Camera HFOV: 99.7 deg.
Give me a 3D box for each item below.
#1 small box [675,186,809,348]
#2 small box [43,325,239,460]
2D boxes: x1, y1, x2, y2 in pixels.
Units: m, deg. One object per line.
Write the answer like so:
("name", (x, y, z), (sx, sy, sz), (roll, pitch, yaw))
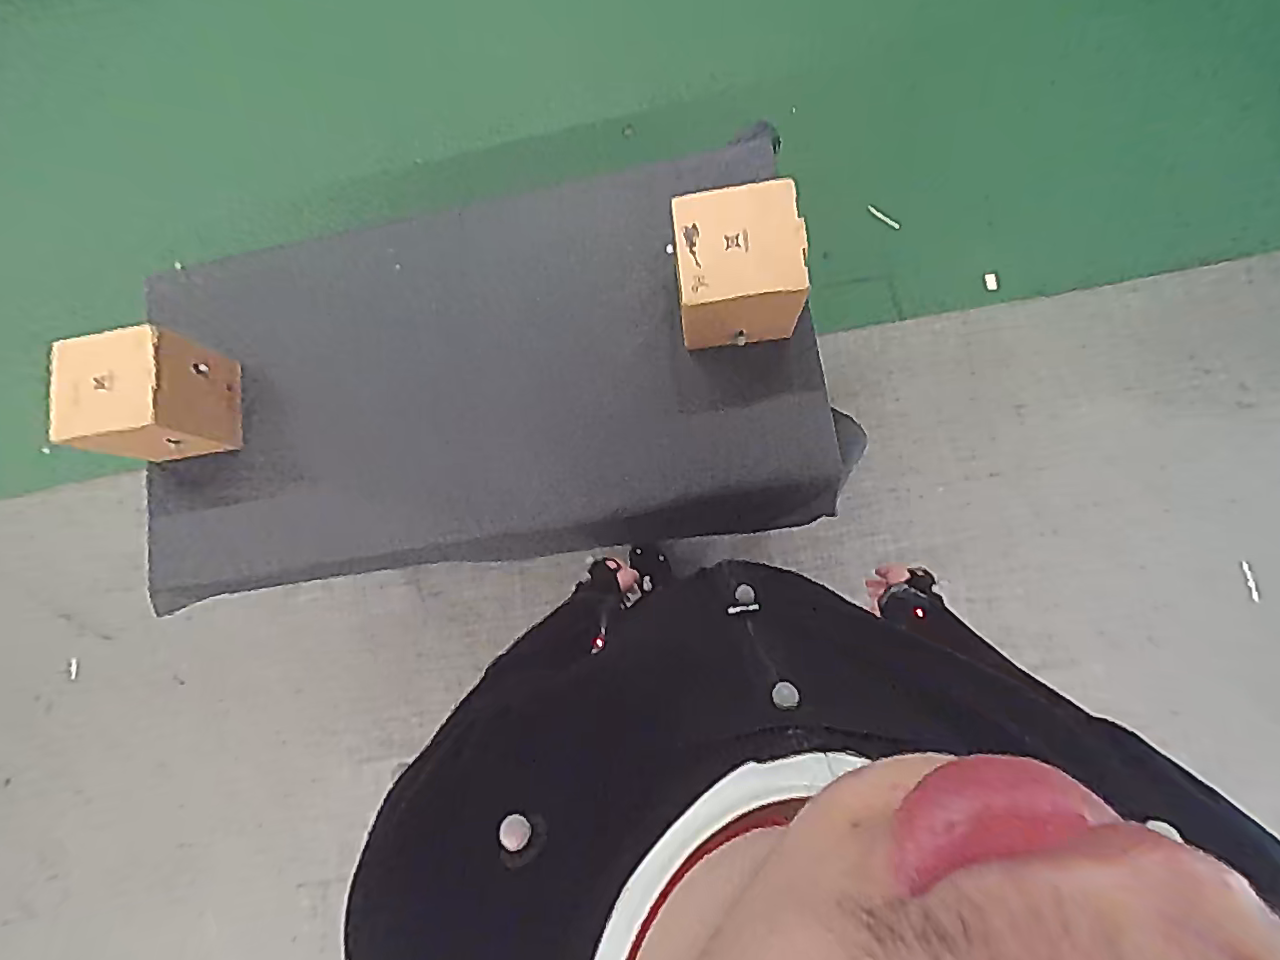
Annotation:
("small box", (0.148, -0.318, 0.837), (0.179, 0.176, 0.168), (-6, 82, 5))
("small box", (-0.813, -0.136, 0.899), (0.179, 0.176, 0.168), (-7, 79, 5))
